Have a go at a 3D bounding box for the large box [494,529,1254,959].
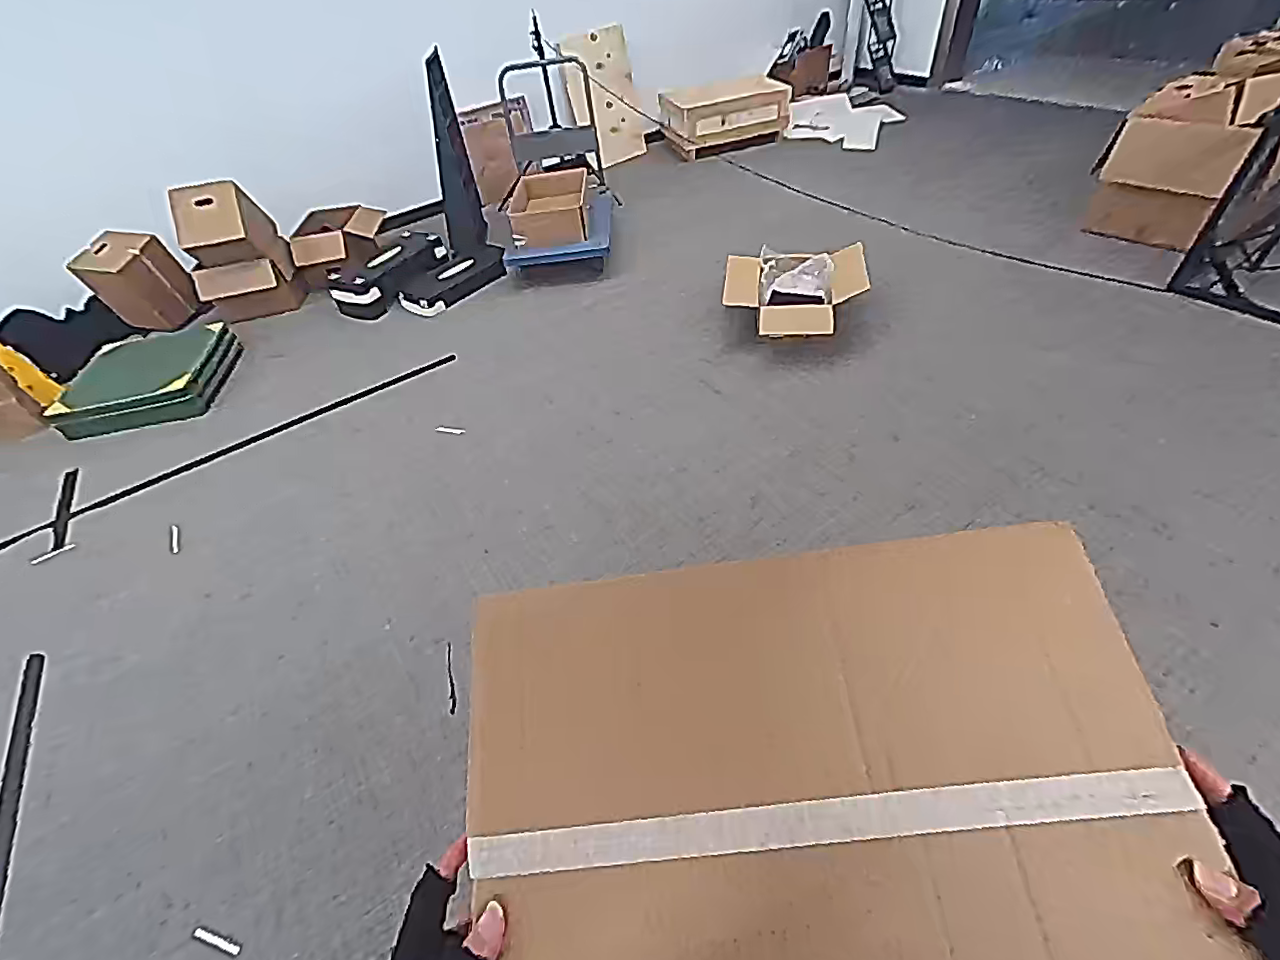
[{"bbox_3d":[0.123,0.259,0.453,0.408,0.320,0.320,-8,67,4],"label":"large box"}]
